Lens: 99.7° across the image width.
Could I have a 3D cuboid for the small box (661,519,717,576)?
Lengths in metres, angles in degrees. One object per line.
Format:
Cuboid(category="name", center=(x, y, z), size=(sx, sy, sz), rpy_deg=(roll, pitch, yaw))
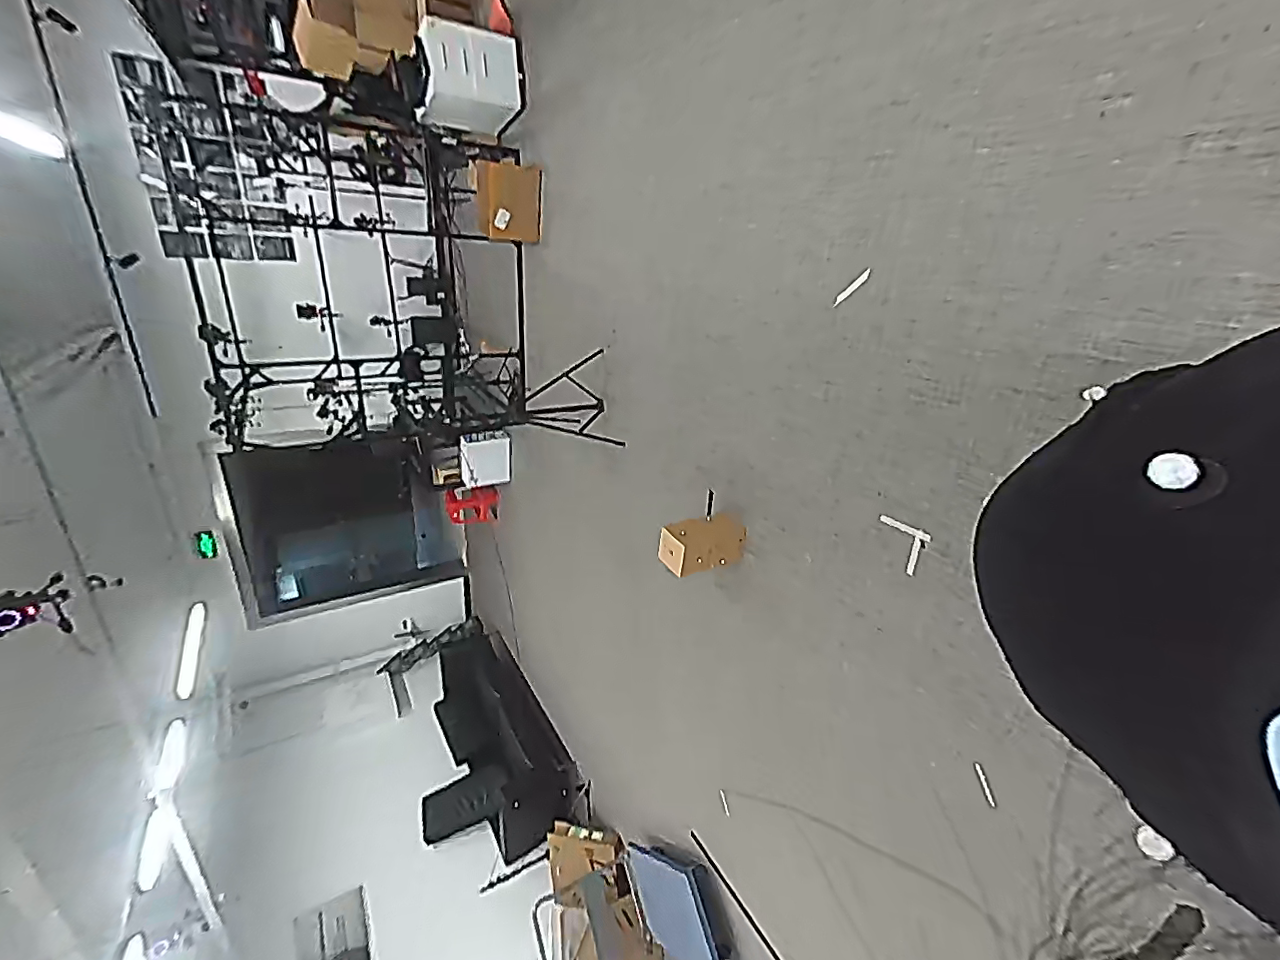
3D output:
Cuboid(category="small box", center=(0.215, 0.285, 2.348), size=(0.179, 0.176, 0.168), rpy_deg=(41, 133, 48))
